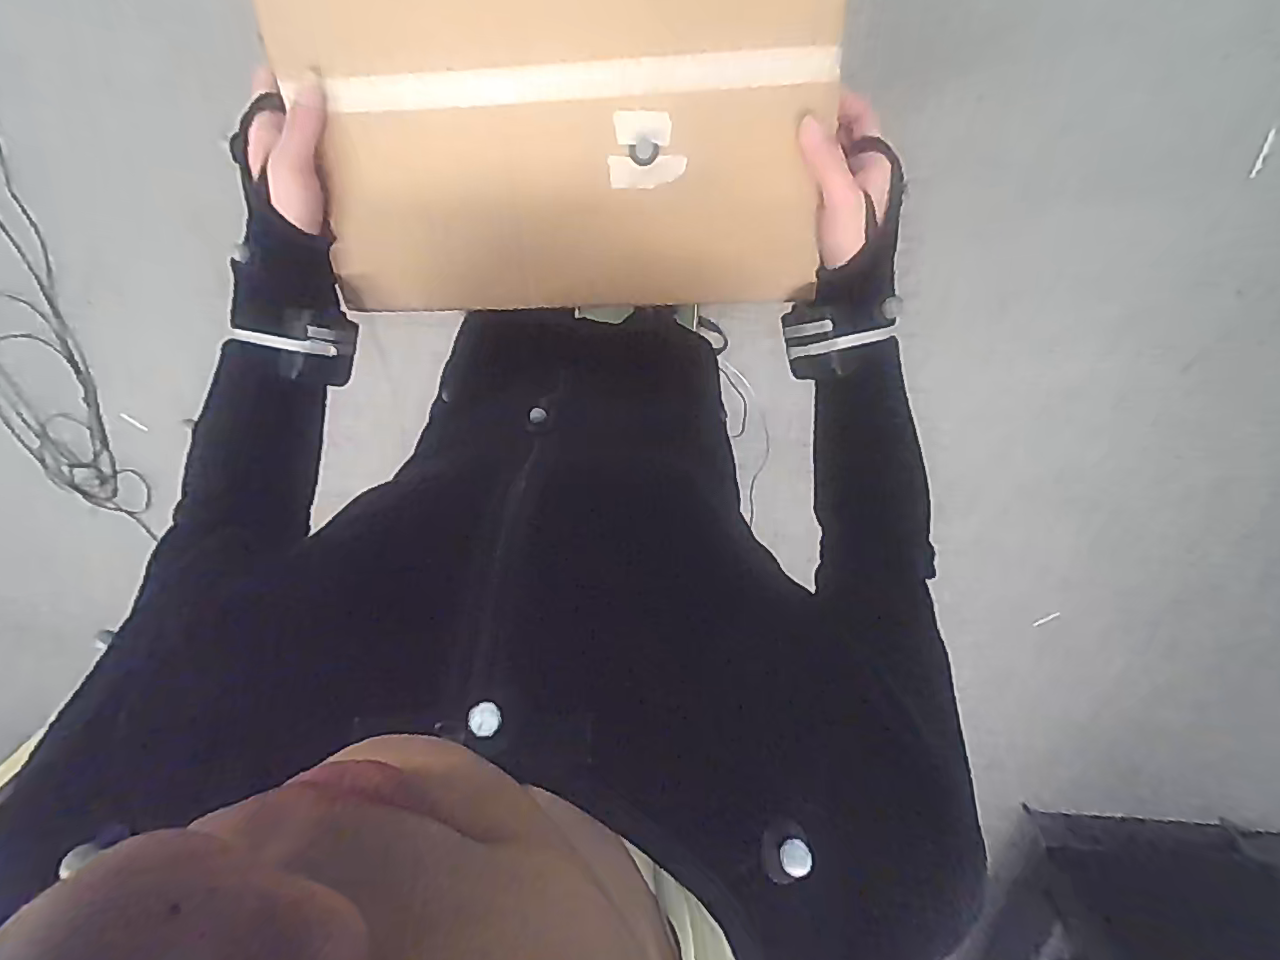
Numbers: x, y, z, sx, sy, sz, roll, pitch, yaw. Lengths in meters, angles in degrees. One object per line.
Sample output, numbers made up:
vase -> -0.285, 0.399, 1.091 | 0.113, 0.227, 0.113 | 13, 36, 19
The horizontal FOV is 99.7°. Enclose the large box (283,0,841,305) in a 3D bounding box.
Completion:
large box -> -0.050, -0.366, 0.532 | 0.408, 0.320, 0.320 | -1, 118, 4
